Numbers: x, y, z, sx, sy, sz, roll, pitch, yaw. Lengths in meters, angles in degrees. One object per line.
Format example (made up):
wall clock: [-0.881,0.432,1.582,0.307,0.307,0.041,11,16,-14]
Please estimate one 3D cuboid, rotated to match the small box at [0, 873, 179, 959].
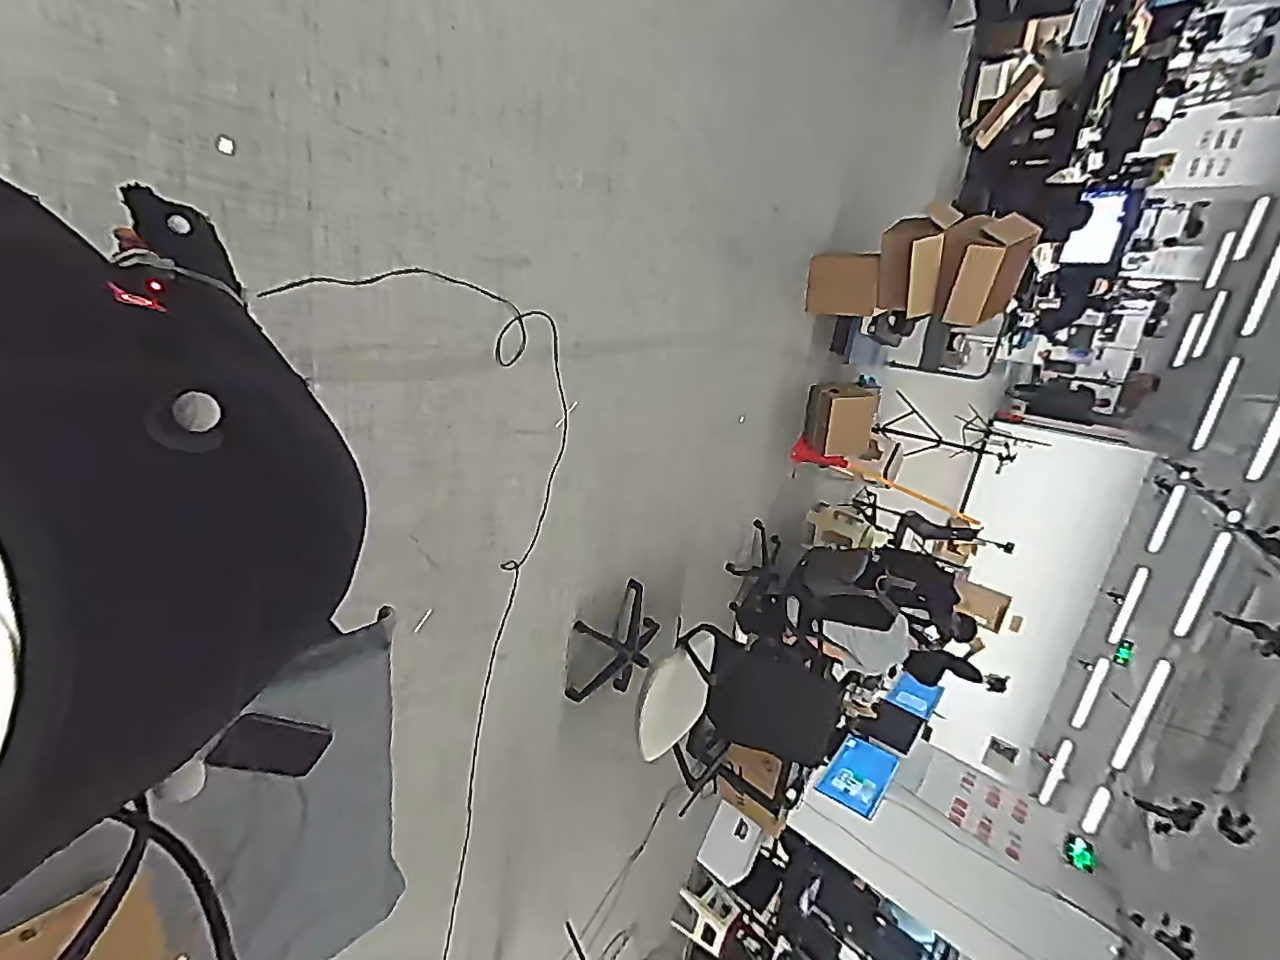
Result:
small box: [-0.654,0.612,0.629,0.168,0.176,0.179,-15,119,-48]
